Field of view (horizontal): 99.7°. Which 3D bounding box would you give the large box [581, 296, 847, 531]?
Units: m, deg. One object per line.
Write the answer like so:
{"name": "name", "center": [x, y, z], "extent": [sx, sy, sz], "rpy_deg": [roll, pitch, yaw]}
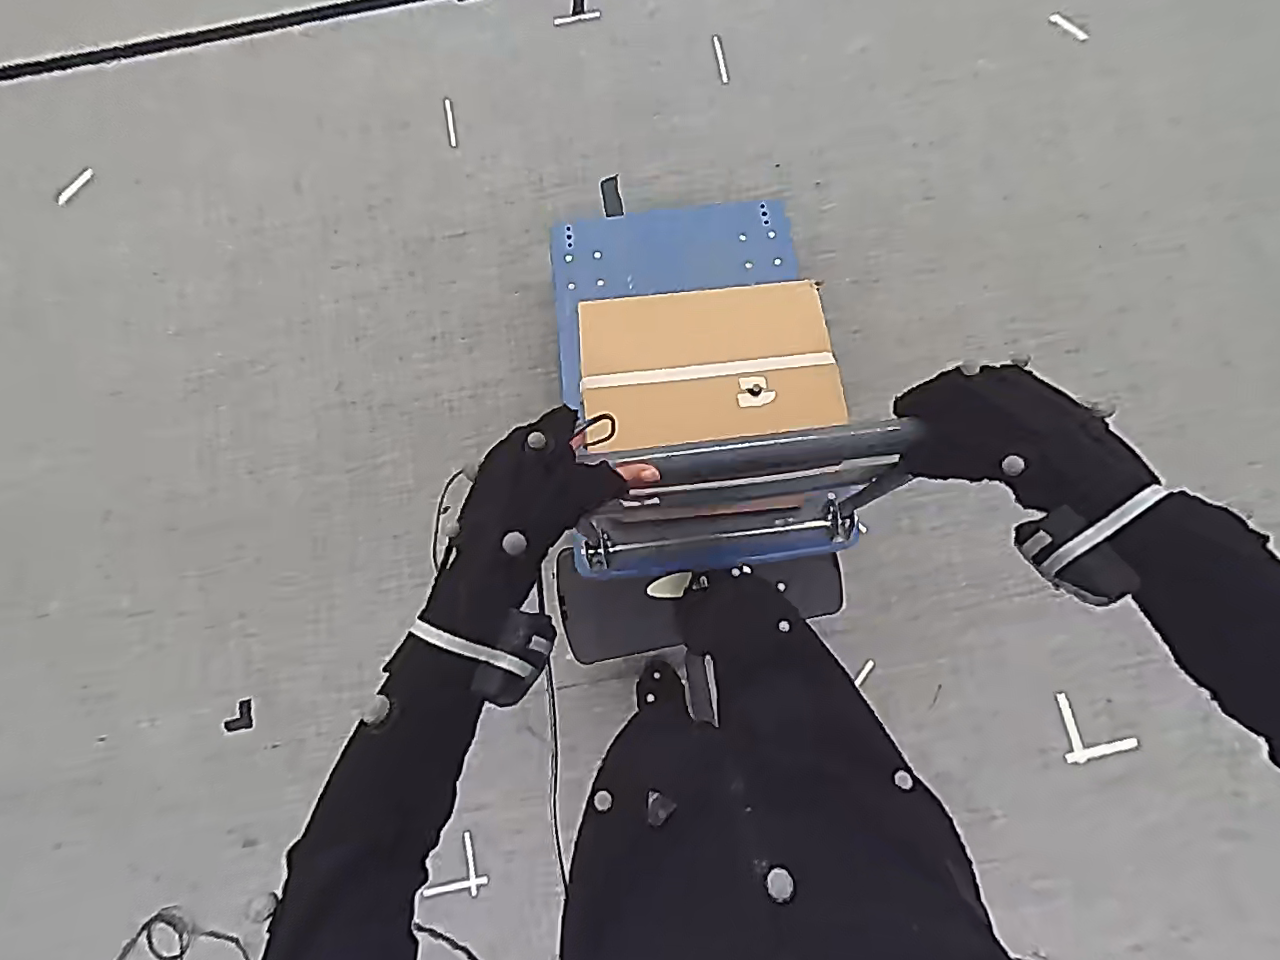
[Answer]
{"name": "large box", "center": [0.112, -0.106, 1.025], "extent": [0.408, 0.320, 0.320], "rpy_deg": [-6, 72, -1]}
